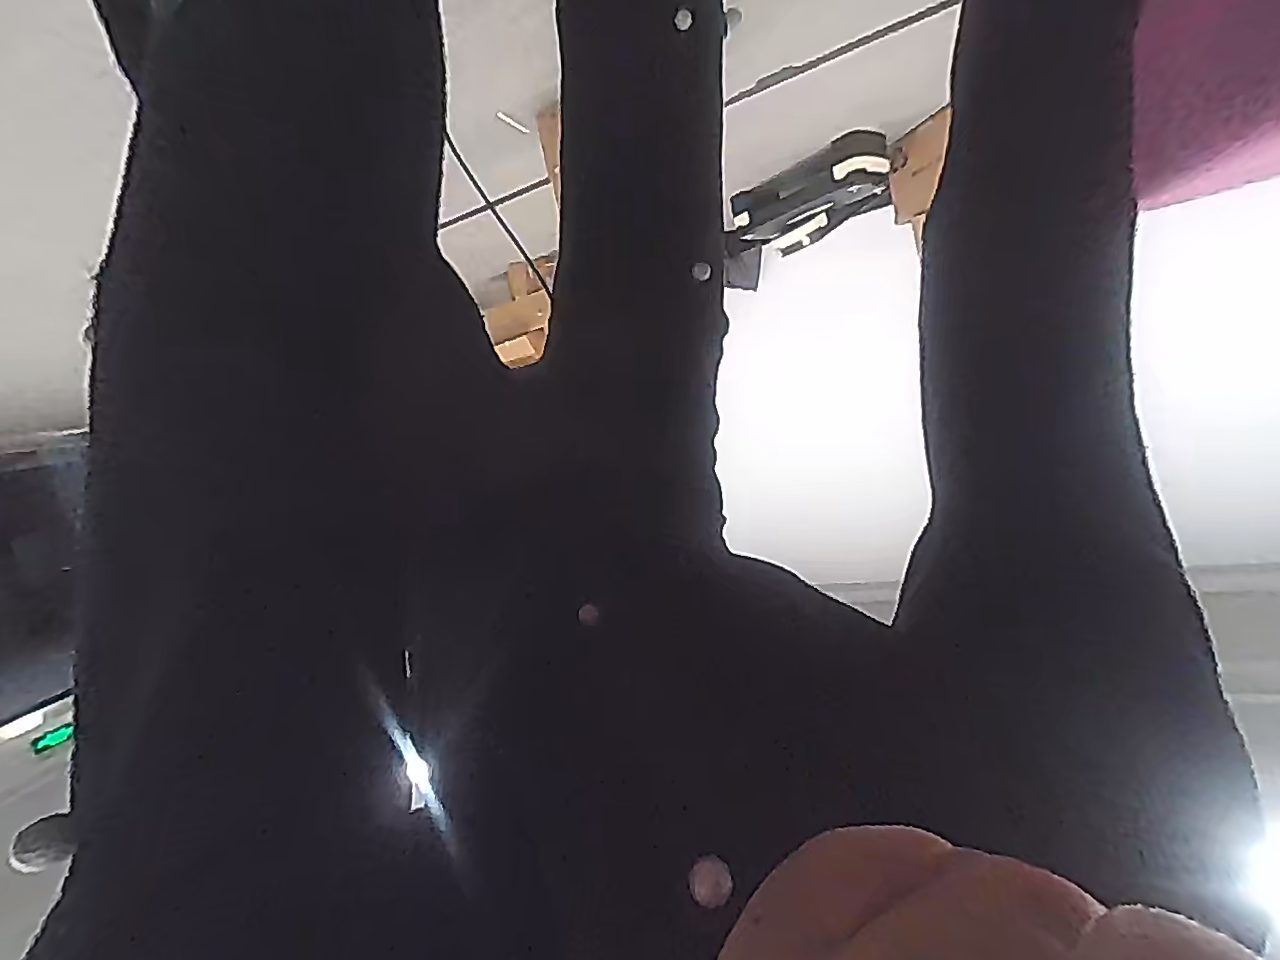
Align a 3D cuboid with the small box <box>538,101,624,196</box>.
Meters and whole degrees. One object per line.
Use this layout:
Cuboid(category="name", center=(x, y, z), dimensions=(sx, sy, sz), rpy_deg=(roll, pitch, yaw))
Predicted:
Cuboid(category="small box", center=(-0.169, -0.957, 1.568), dimensions=(0.168, 0.176, 0.179), rpy_deg=(-7, -170, 28))
